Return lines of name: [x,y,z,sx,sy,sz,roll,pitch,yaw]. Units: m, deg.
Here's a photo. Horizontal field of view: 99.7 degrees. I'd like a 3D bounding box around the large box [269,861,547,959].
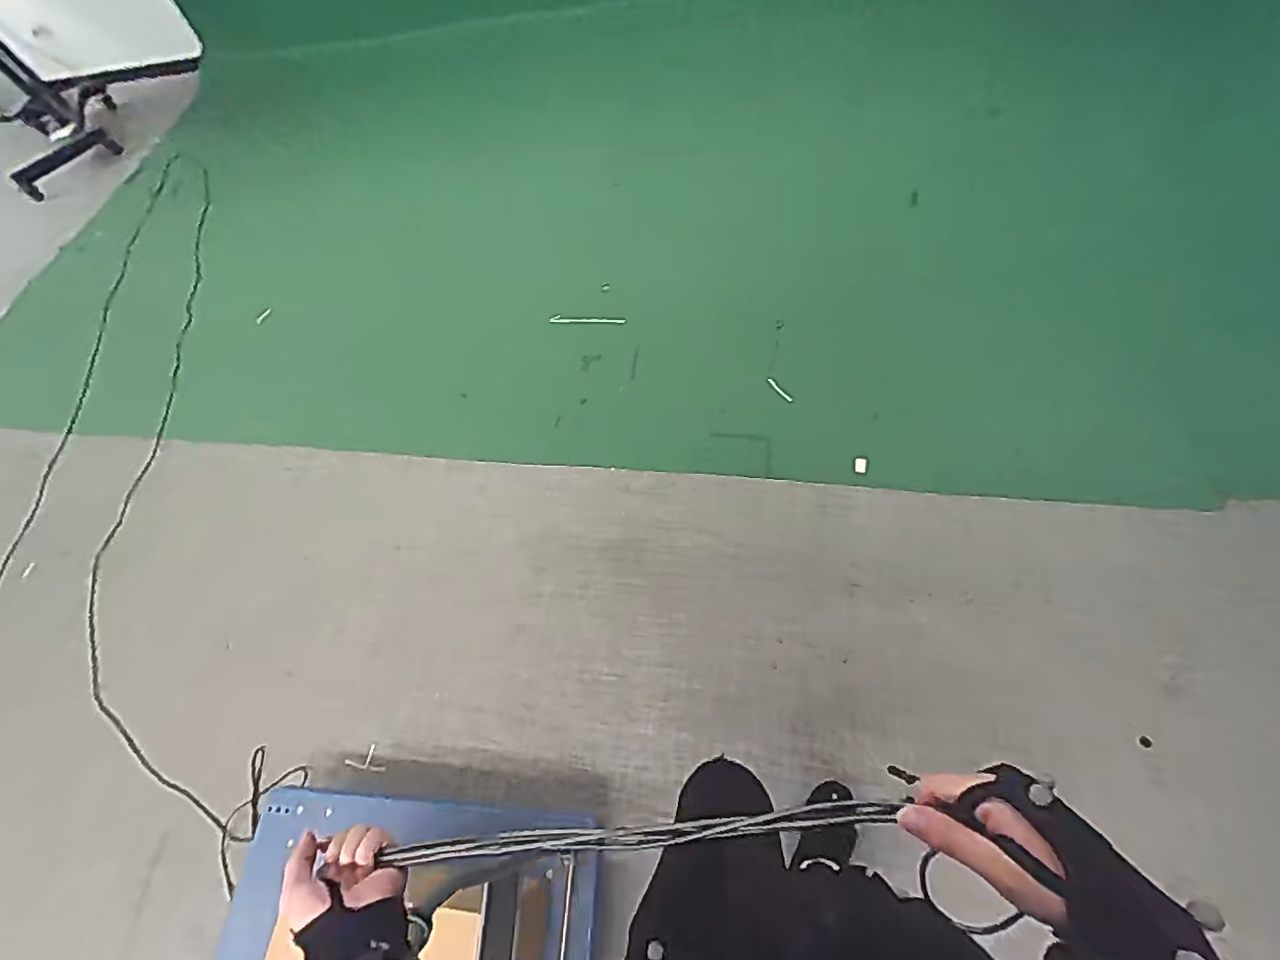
large box: [-0.425,0.940,1.012,0.408,0.320,0.320,-2,62,12]
